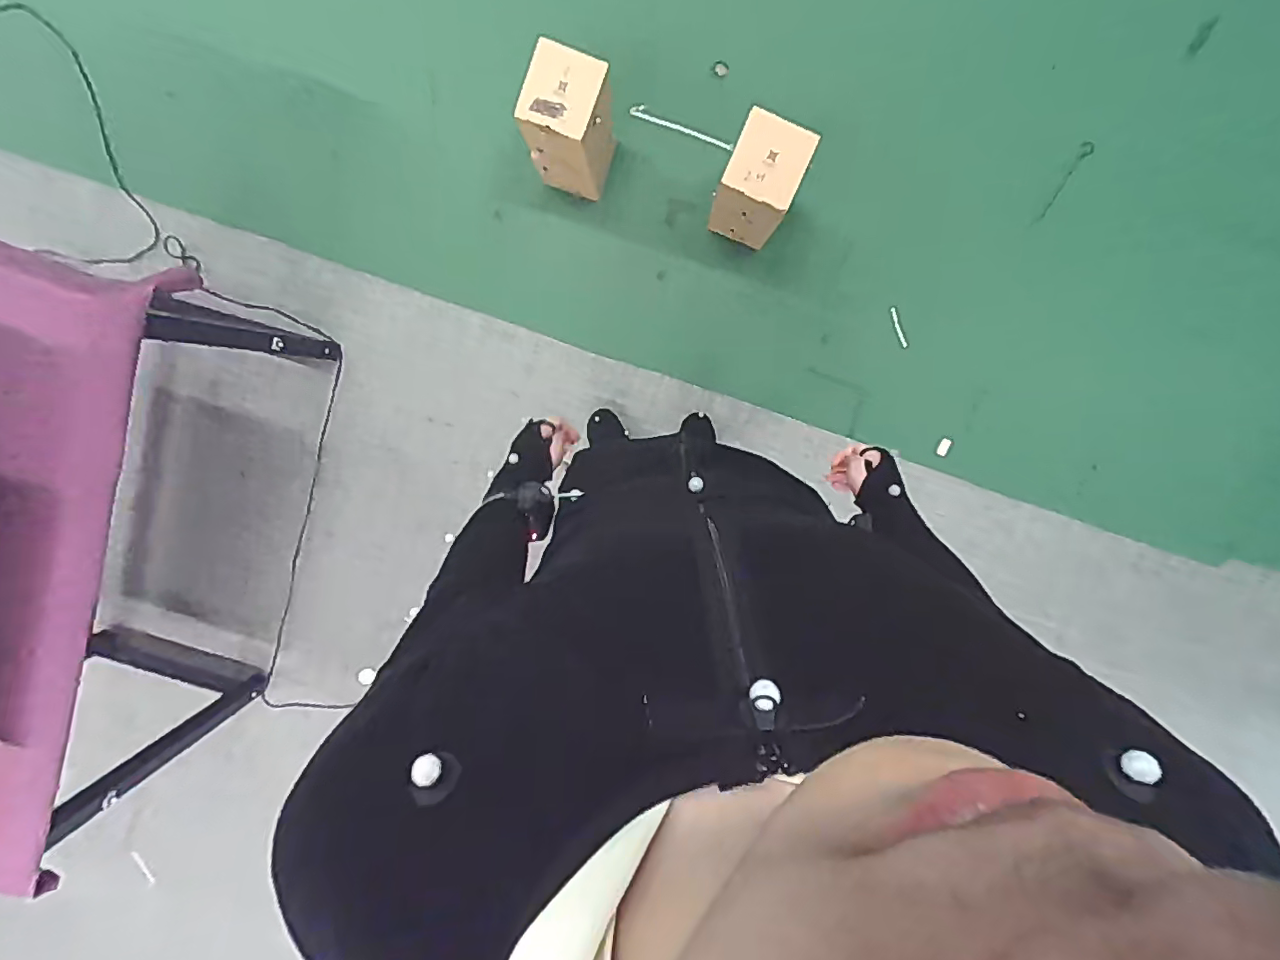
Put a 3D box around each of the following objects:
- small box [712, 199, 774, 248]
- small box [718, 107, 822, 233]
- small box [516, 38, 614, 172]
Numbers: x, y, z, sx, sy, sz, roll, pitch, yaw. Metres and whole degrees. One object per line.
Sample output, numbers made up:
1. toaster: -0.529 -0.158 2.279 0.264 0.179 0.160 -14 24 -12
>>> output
1. small box: 0.299 -0.748 1.437 0.168 0.176 0.179 22 100 -1
2. small box: 0.295 -0.718 1.275 0.168 0.176 0.179 24 99 -1
3. small box: -0.168 -0.867 1.272 0.168 0.176 0.179 22 97 -1
